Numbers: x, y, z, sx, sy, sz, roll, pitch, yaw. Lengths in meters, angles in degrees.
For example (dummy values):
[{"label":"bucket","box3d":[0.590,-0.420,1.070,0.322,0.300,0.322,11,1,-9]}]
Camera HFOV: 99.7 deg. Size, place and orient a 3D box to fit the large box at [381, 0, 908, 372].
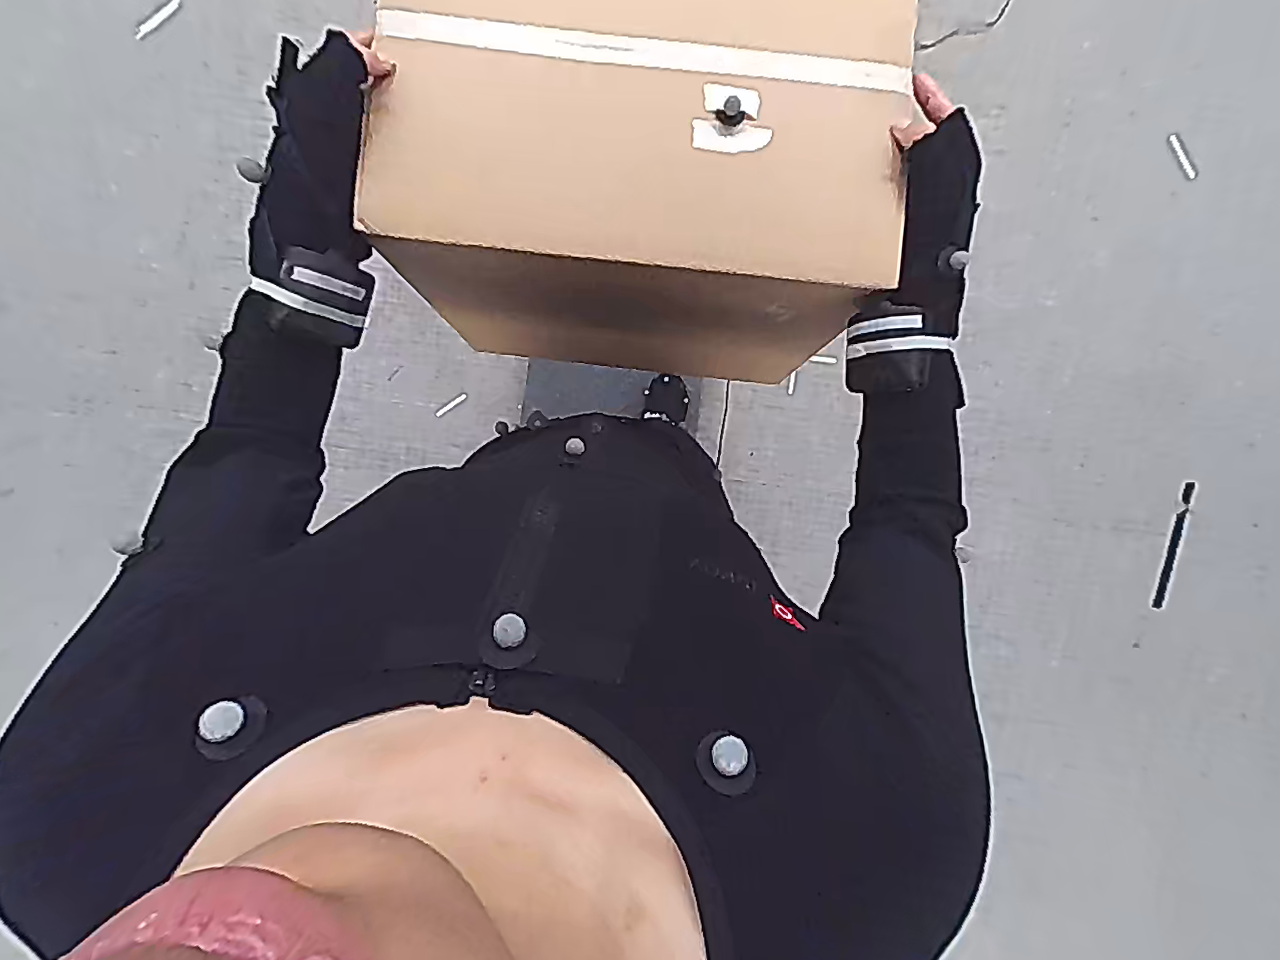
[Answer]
[{"label":"large box","box3d":[0.004,-0.316,0.573,0.408,0.320,0.320,6,87,-2]}]
